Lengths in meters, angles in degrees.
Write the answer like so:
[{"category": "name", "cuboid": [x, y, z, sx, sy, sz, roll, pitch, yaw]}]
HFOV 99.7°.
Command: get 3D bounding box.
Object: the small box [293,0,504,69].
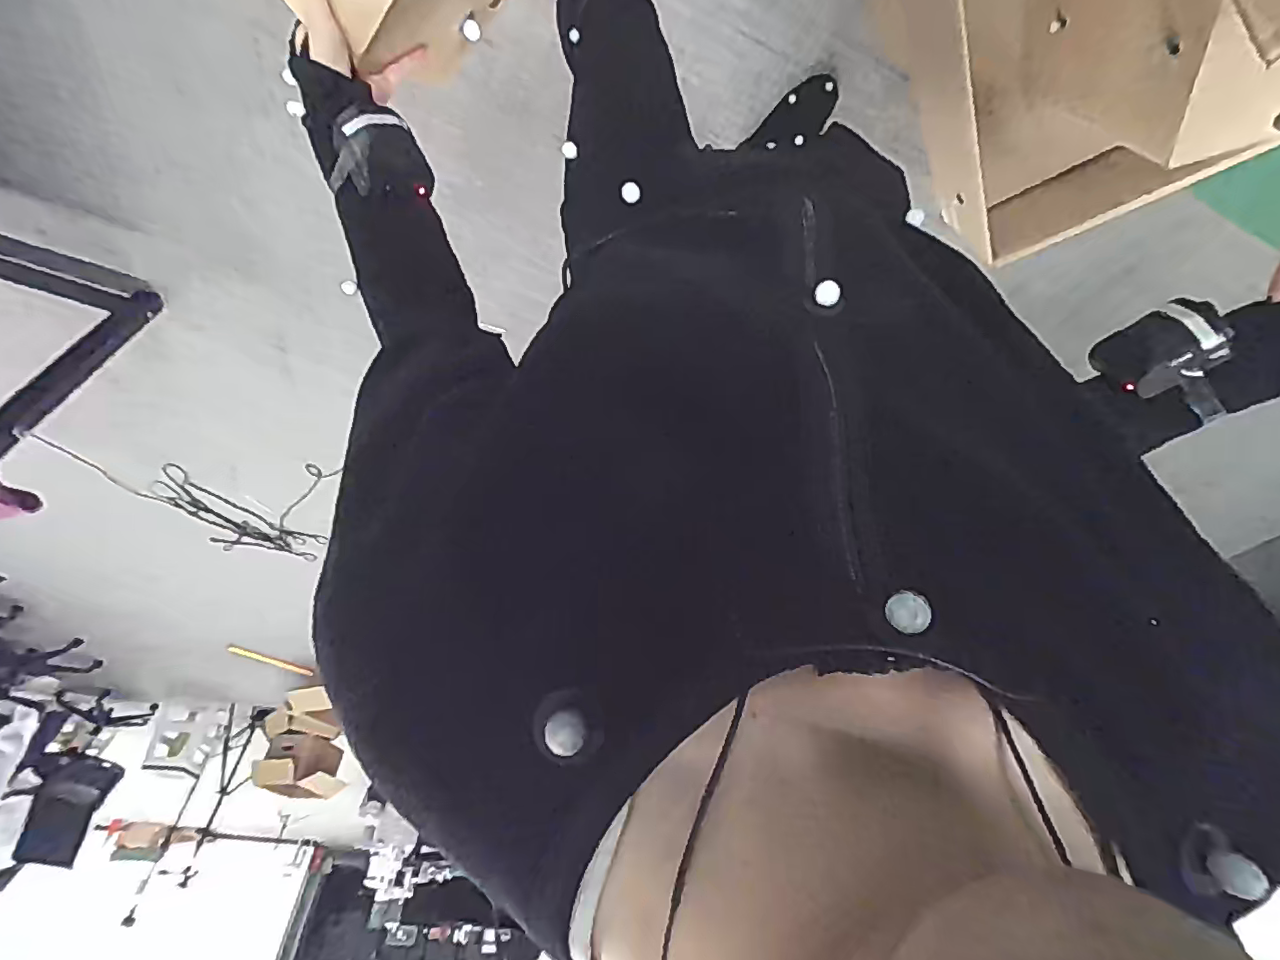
[{"category": "small box", "cuboid": [-0.225, -0.498, 0.465, 0.168, 0.176, 0.179, -29, 111, 30]}]
